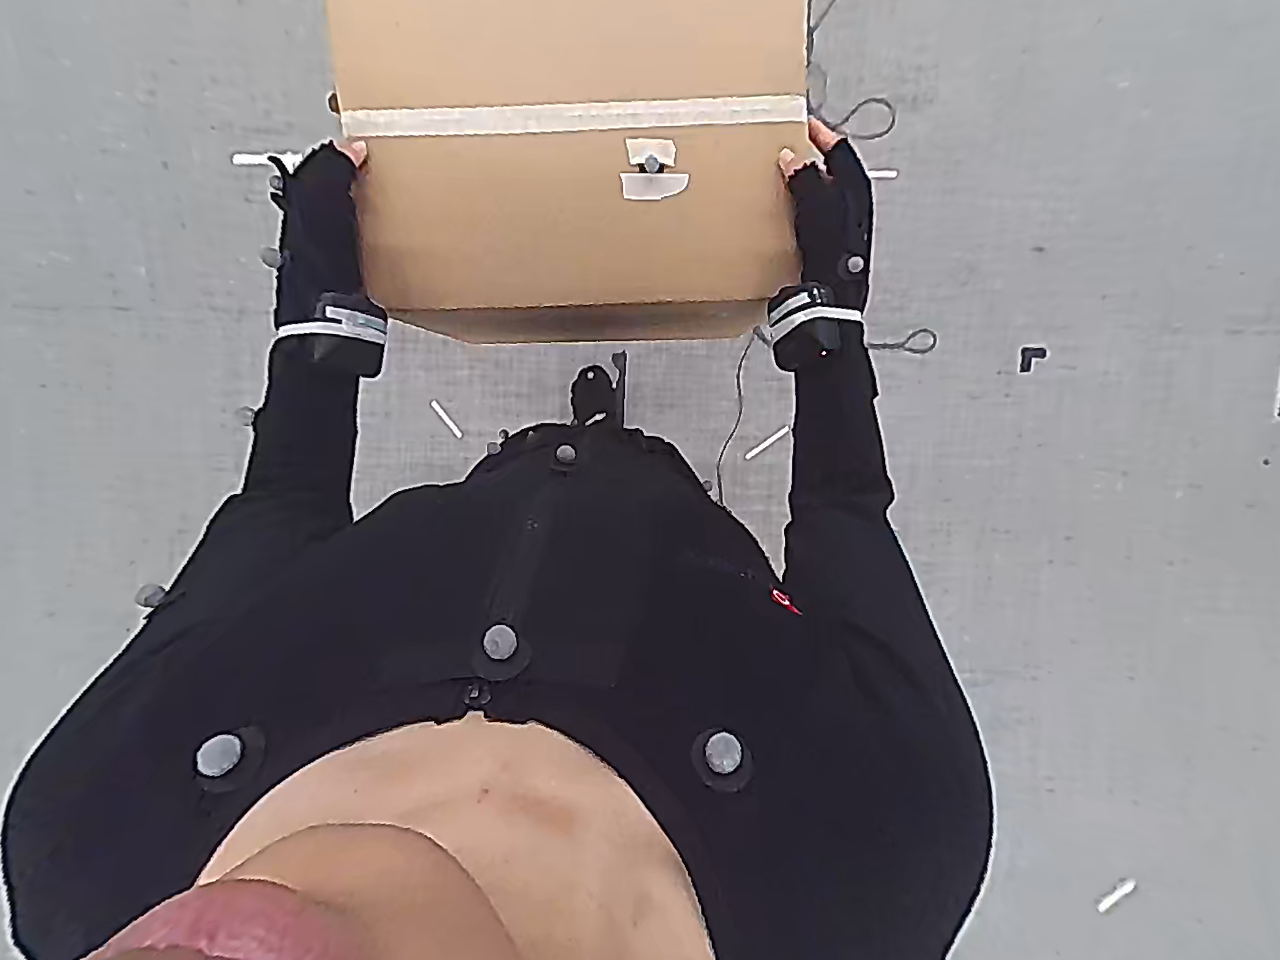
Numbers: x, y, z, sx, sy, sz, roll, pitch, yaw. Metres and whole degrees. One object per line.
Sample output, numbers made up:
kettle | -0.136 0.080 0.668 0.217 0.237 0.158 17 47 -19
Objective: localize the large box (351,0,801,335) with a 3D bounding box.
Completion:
large box | -0.056 -0.354 0.637 0.408 0.320 0.320 -2 99 -1
